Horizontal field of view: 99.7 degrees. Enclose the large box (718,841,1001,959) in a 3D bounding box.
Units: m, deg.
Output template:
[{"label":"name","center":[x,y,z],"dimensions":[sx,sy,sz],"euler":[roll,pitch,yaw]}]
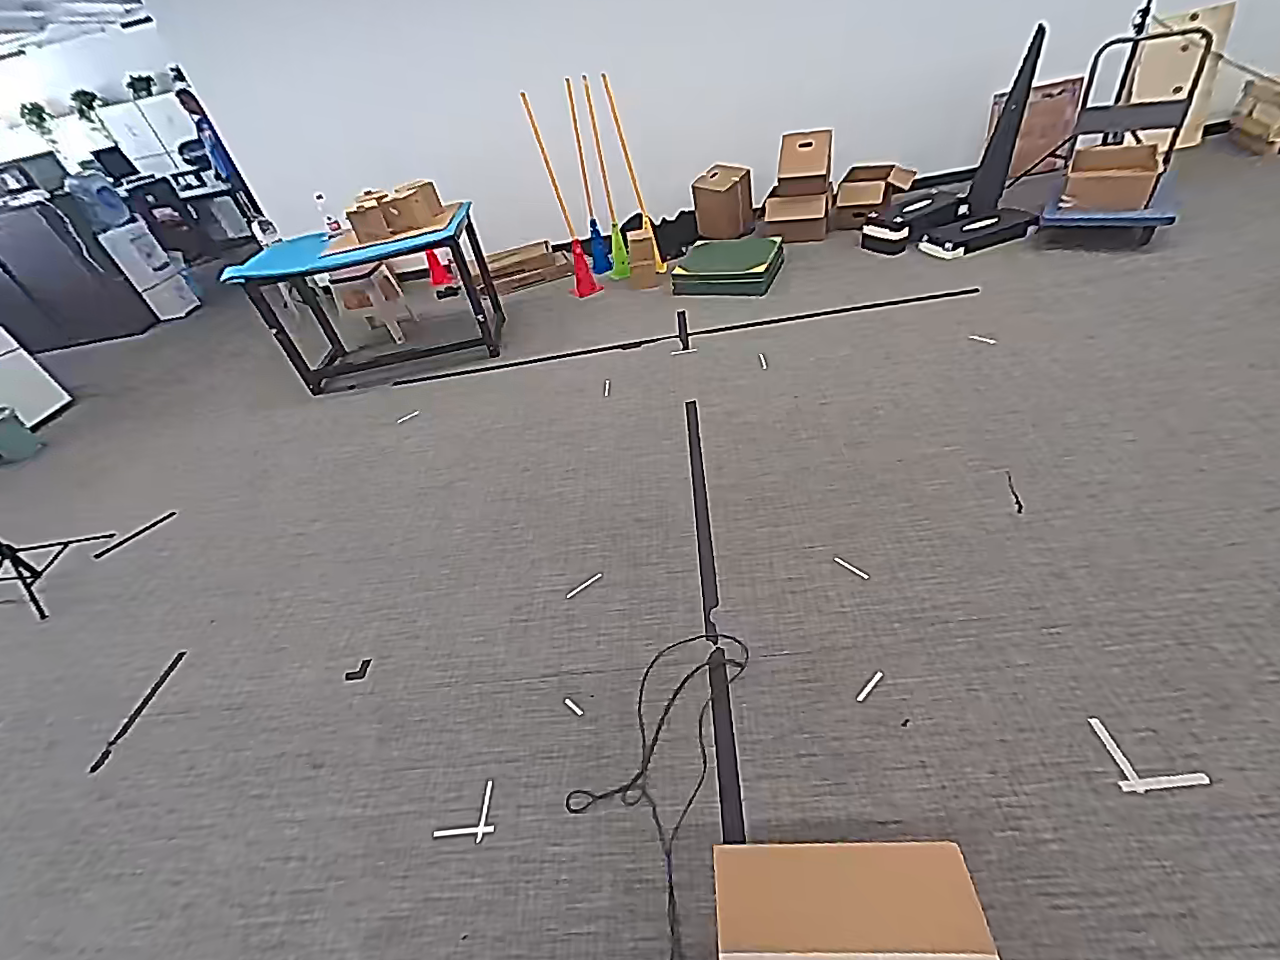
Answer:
[{"label":"large box","center":[0.352,0.833,0.899],"dimensions":[0.408,0.320,0.320],"euler":[-6,41,8]}]
